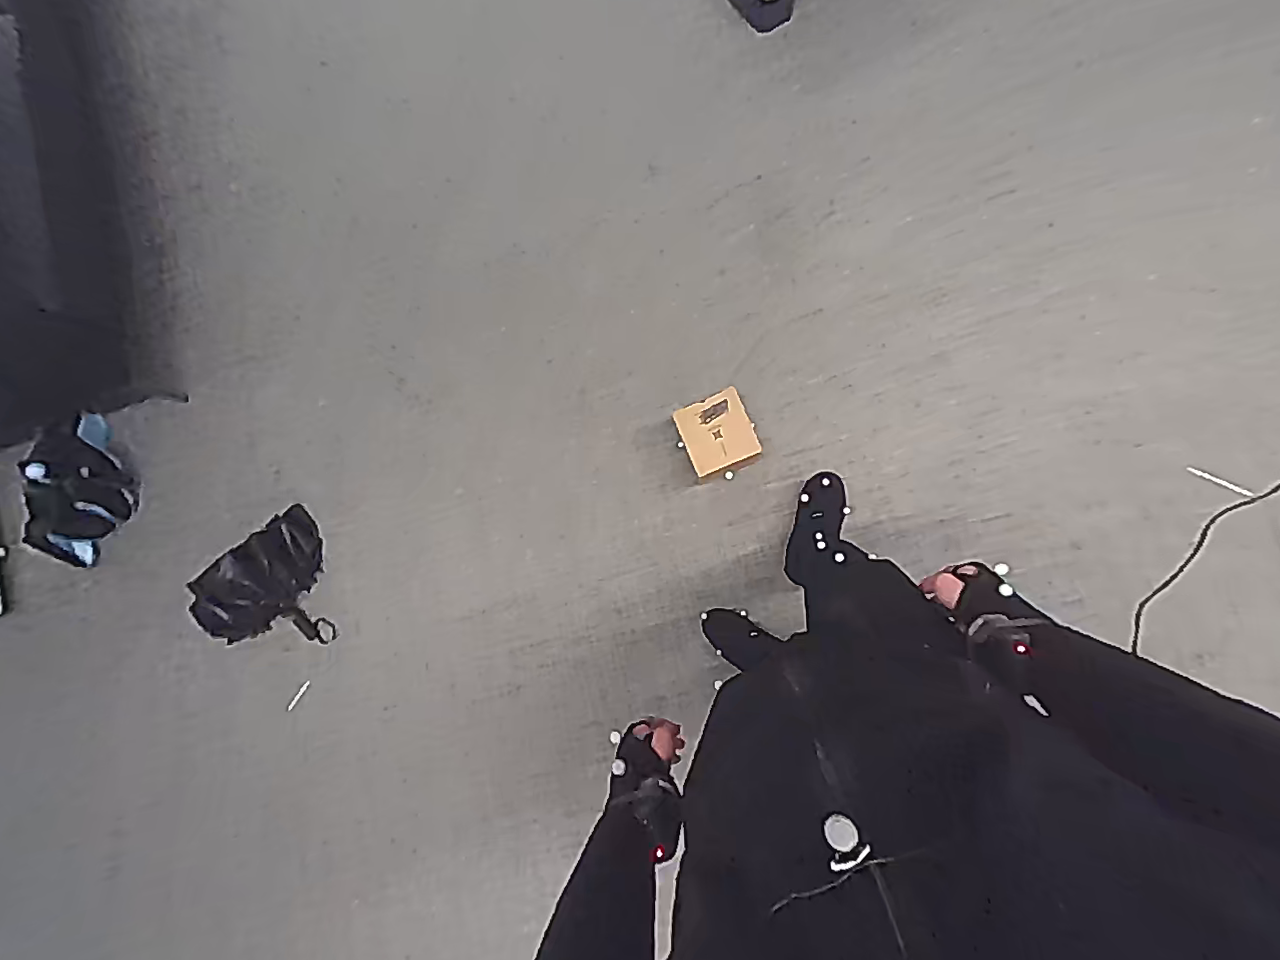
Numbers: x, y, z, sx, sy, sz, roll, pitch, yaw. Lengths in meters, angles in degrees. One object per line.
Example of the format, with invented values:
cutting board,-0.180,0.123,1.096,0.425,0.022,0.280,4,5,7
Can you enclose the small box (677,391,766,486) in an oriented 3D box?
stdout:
small box,0.204,-0.098,1.370,0.168,0.176,0.179,-23,81,6
